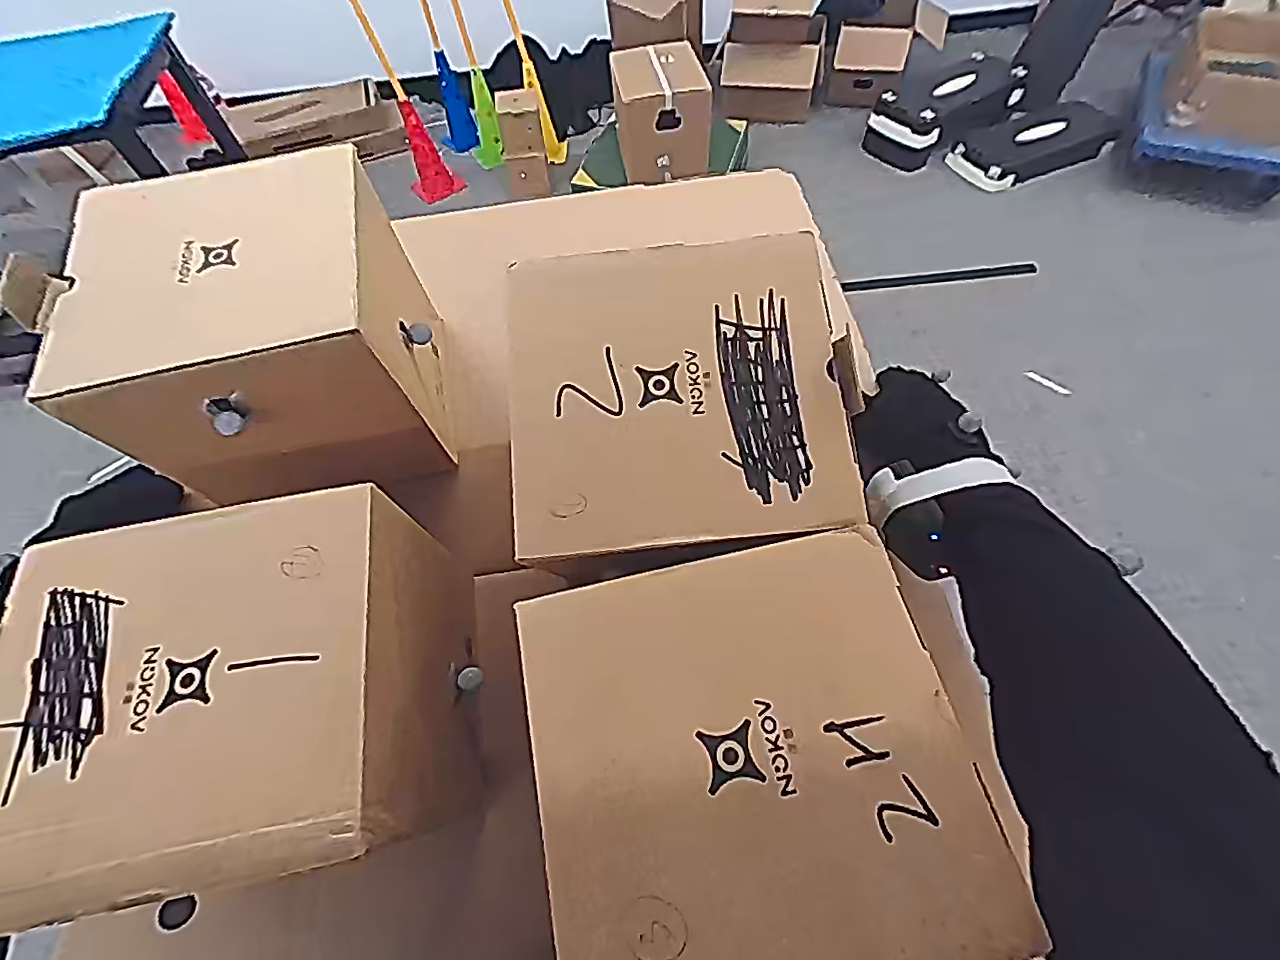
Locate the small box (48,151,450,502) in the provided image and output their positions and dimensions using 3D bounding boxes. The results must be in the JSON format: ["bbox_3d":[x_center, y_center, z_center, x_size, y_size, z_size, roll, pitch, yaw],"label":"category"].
[{"bbox_3d":[-0.255,-0.102,0.407,0.179,0.176,0.168,-14,65,-3],"label":"small box"}]
